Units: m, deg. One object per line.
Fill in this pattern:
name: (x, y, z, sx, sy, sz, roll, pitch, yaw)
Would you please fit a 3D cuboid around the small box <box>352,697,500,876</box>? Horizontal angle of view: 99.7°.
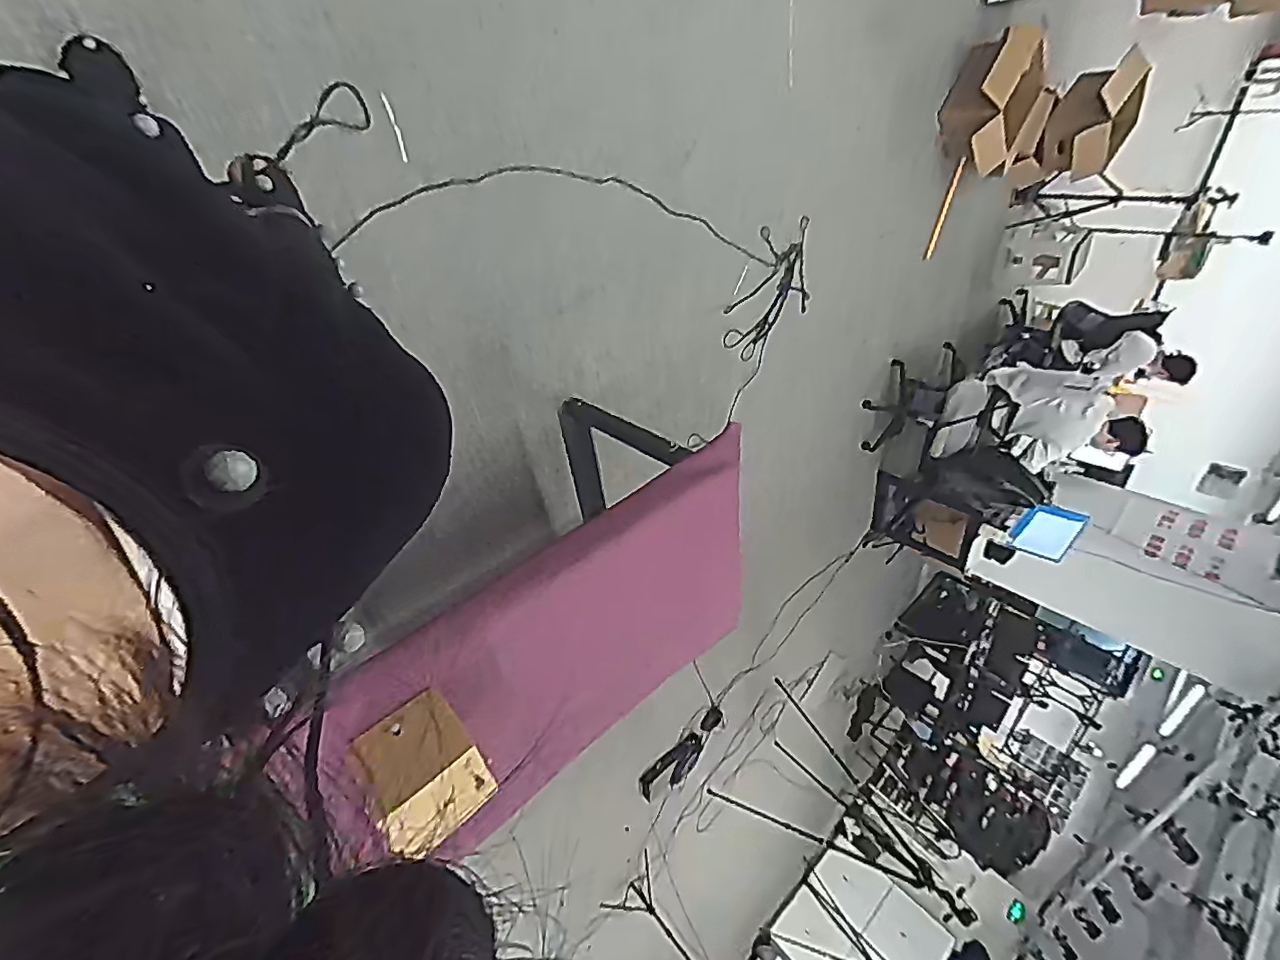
small box: (-0.380, 0.529, 0.951, 0.179, 0.176, 0.168, -31, 132, -30)
